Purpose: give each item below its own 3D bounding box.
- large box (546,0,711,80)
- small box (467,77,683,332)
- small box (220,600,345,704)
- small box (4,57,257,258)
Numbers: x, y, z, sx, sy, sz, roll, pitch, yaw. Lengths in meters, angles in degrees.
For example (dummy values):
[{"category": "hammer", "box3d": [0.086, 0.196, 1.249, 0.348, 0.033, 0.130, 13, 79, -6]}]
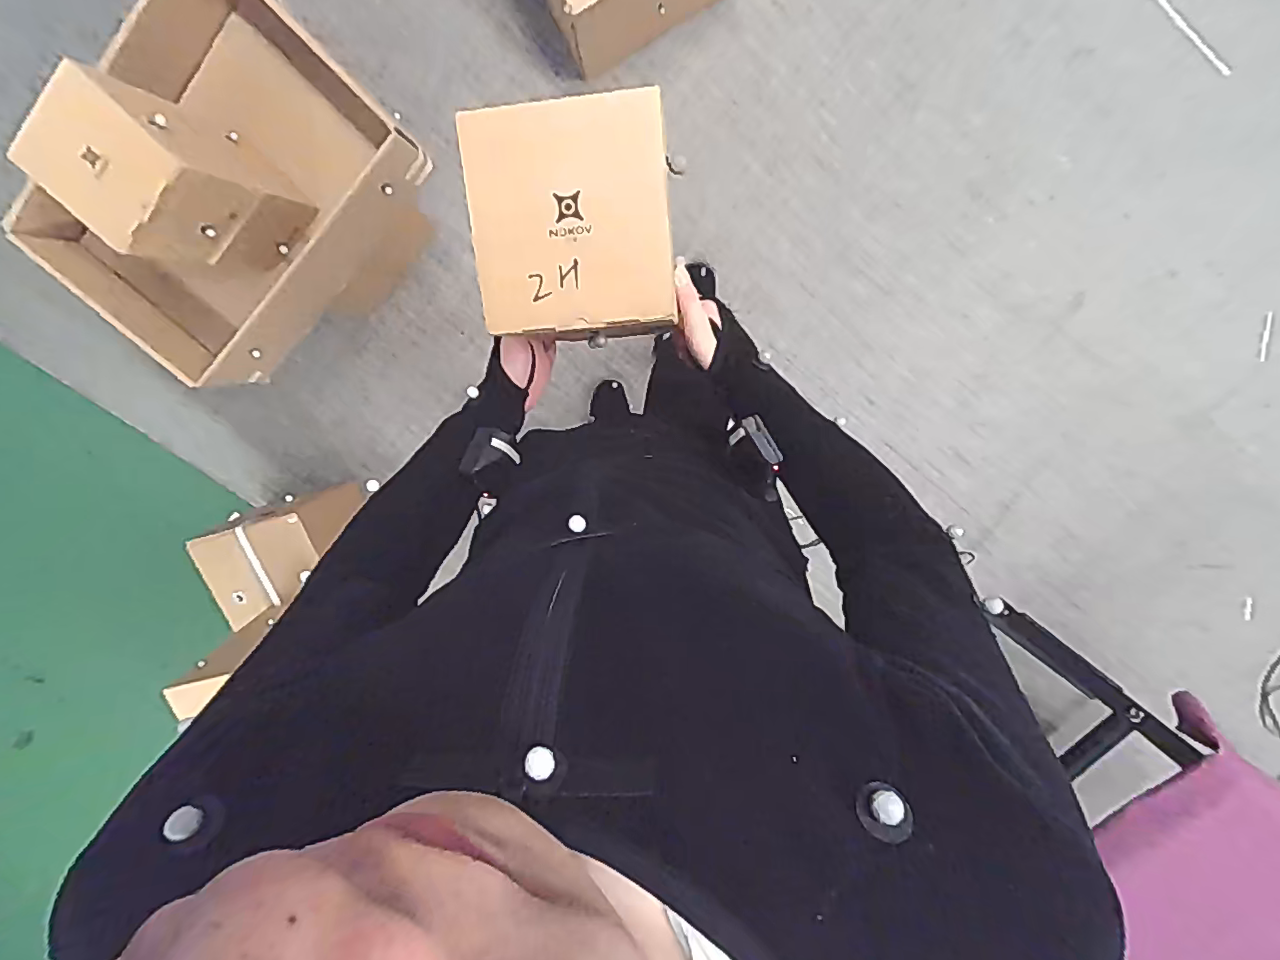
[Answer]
[{"category": "large box", "box3d": [-0.031, -1.161, 1.136, 0.408, 0.320, 0.320, -27, 104, 8]}, {"category": "small box", "box3d": [-0.046, -0.240, 0.518, 0.168, 0.176, 0.179, -3, 104, 5]}, {"category": "small box", "box3d": [-0.859, 0.413, 1.326, 0.179, 0.176, 0.168, -13, 105, 3]}, {"category": "small box", "box3d": [-0.735, -0.455, 0.802, 0.168, 0.176, 0.179, -43, 103, 12]}]
